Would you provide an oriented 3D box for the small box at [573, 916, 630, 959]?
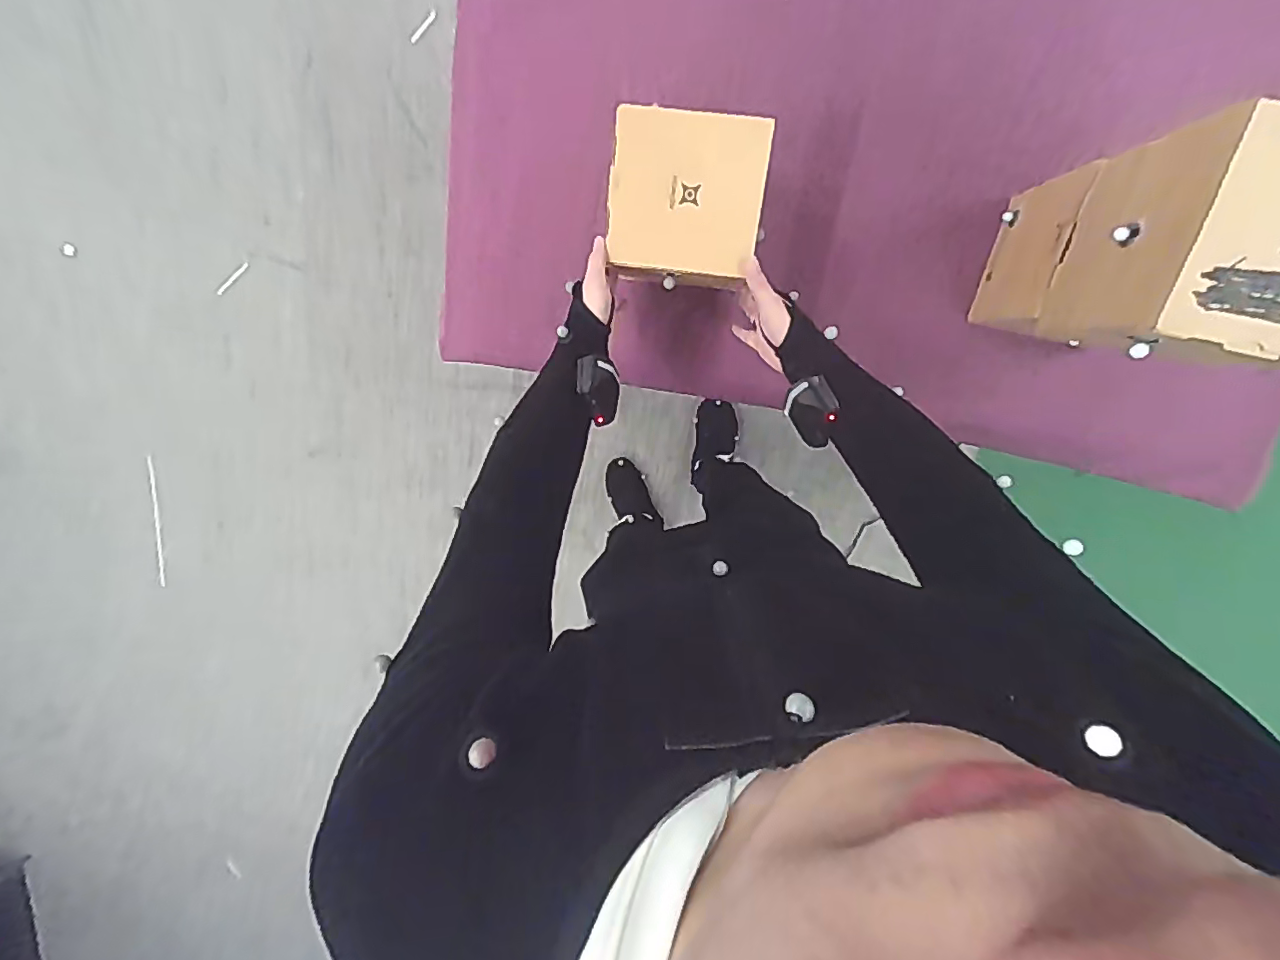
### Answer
[{"bbox_3d":[-0.151,1.786,2.019,0.179,0.176,0.168,20,106,1],"label":"small box"}]

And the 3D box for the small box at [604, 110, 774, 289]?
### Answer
[{"bbox_3d":[0.060,-0.341,0.688,0.179,0.176,0.168,8,106,4],"label":"small box"}]

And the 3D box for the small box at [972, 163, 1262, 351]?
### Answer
[{"bbox_3d":[0.549,-0.257,0.659,0.179,0.176,0.168,13,106,2],"label":"small box"}]
